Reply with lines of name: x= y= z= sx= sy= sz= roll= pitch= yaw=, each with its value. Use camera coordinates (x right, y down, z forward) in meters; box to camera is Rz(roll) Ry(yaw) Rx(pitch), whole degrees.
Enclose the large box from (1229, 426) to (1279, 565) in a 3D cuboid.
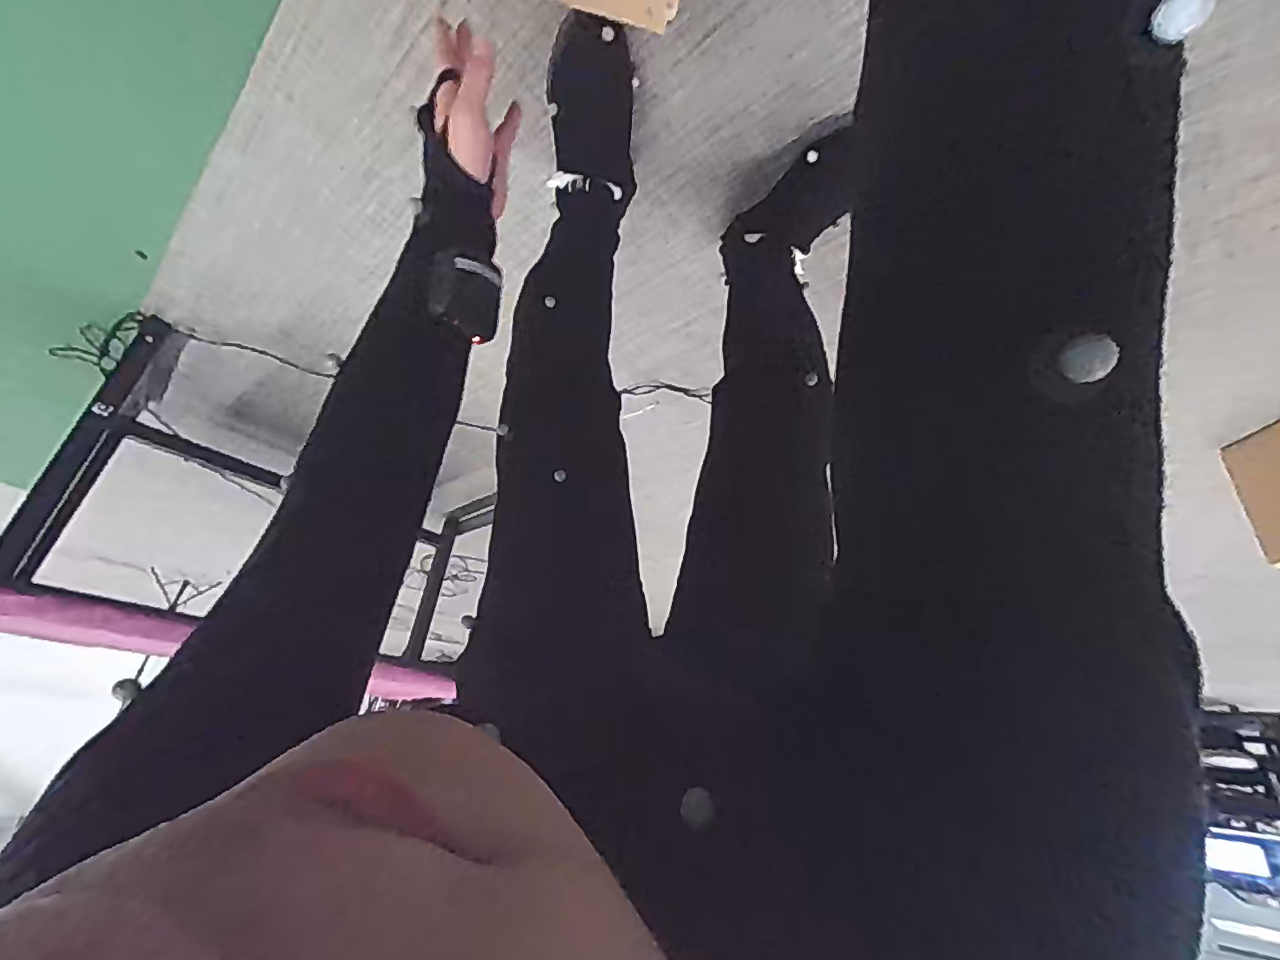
large box: x=1.609 y=-0.013 z=1.113 sx=0.320 sy=0.320 sz=0.408 roll=6 pitch=152 yaw=1
